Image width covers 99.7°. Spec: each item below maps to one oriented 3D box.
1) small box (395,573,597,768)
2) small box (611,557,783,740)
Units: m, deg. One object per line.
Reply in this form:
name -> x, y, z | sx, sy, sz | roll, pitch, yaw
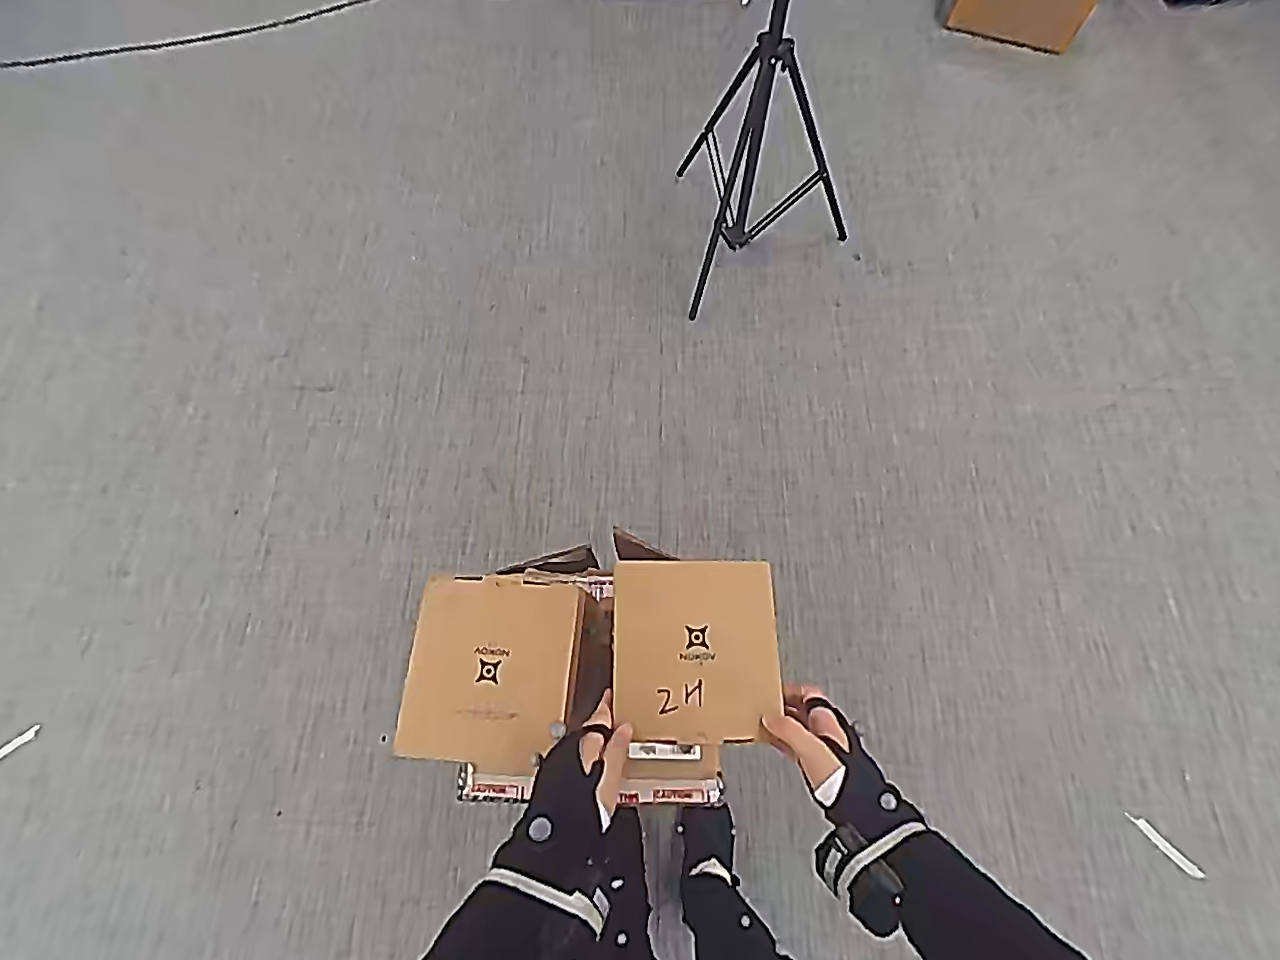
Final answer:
small box -> -0.144, 0.209, 0.613 | 0.168, 0.176, 0.179 | 2, 73, 5
small box -> 0.051, 0.193, 0.611 | 0.168, 0.176, 0.179 | 0, 68, -2
